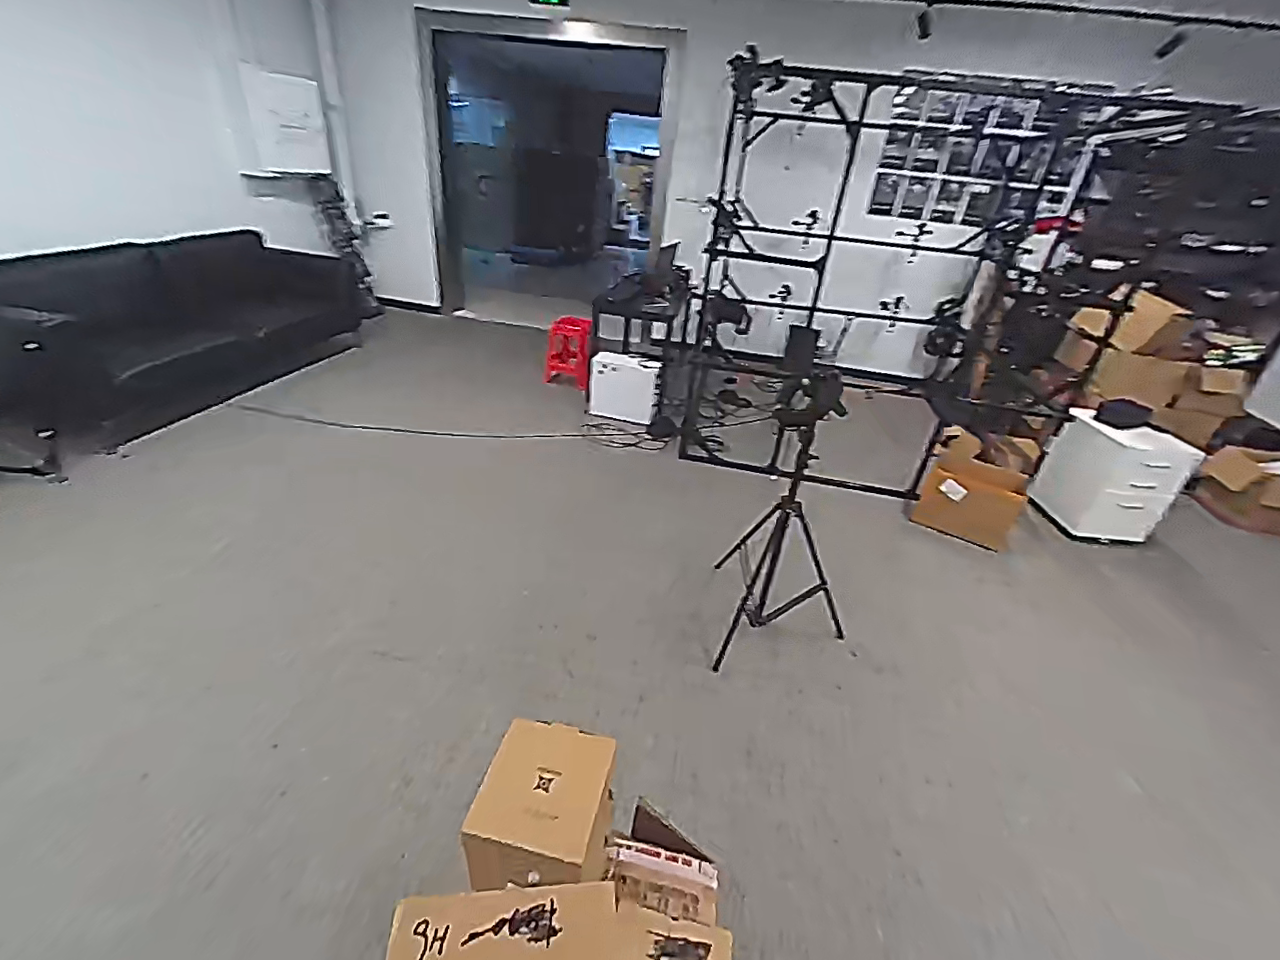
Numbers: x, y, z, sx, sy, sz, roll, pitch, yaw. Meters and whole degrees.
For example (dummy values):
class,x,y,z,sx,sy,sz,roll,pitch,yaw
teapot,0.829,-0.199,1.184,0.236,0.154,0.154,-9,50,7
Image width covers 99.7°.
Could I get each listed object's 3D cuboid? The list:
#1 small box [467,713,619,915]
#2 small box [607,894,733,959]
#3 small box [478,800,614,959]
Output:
class,x,y,z,sx,sy,sz,roll,pitch,yaw
small box,-0.134,0.486,0.796,0.168,0.176,0.179,9,32,9
small box,0.025,0.726,0.743,0.168,0.176,0.179,11,32,7
small box,-0.147,0.624,0.881,0.168,0.176,0.179,9,31,9
